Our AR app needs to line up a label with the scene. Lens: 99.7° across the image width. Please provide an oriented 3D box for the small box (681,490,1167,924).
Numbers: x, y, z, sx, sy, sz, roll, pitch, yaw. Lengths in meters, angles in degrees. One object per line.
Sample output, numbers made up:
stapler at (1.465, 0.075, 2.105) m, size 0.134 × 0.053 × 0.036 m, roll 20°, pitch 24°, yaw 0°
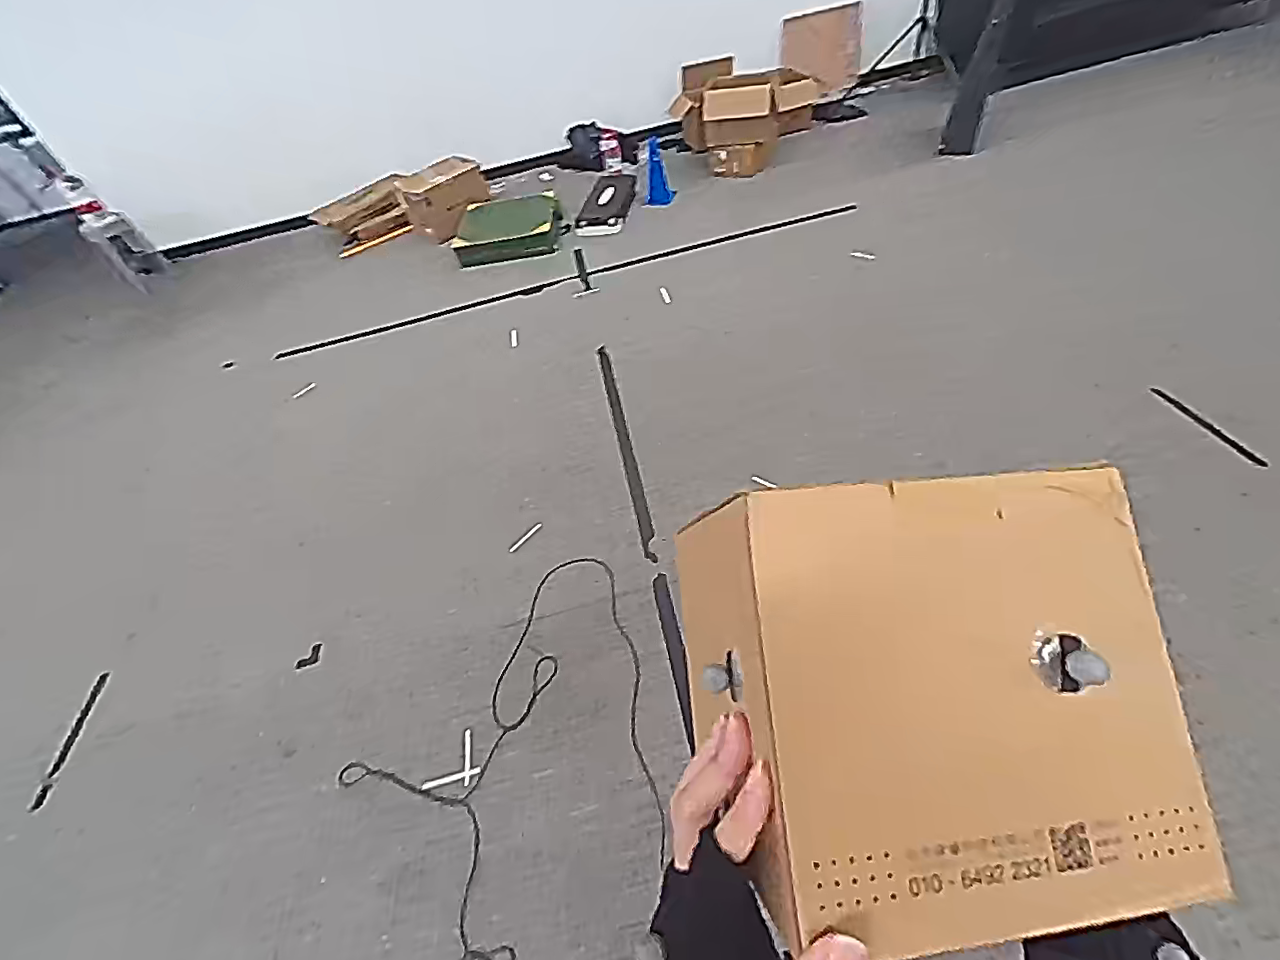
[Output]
small box at (0.124, 0.109, 0.302) m, size 0.168 × 0.179 × 0.176 m, roll -4°, pitch 78°, yaw -6°
